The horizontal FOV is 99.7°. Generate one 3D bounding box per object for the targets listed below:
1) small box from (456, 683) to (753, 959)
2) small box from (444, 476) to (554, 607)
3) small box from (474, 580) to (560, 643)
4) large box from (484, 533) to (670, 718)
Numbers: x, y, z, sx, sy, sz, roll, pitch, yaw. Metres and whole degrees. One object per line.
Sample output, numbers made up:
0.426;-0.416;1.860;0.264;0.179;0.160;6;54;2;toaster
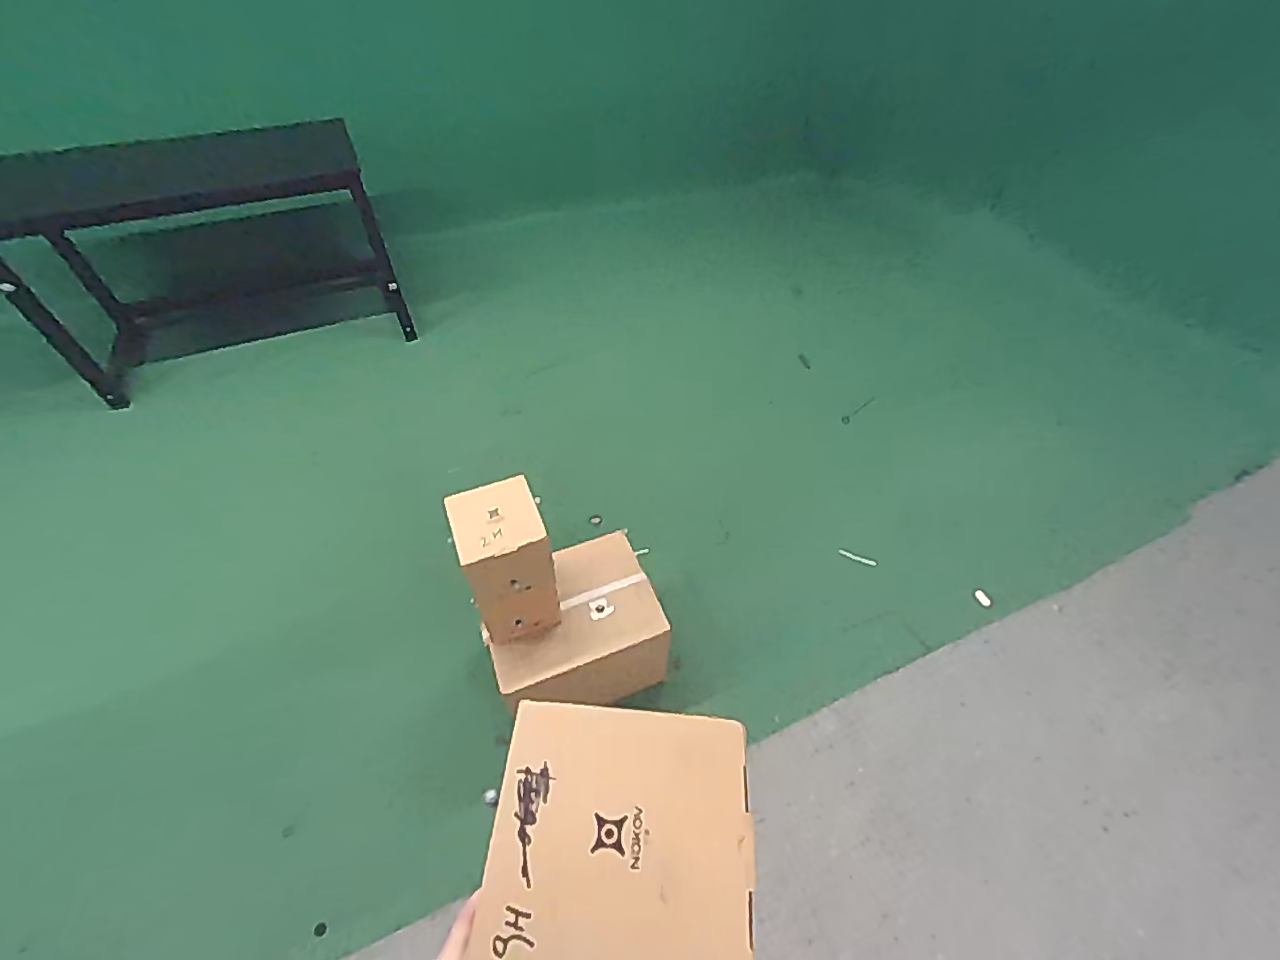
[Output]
-0.020;0.278;0.421;0.179;0.176;0.168;7;50;0;small box
-0.283;0.126;1.099;0.168;0.176;0.179;-18;51;-16;small box
-0.288;0.235;1.222;0.168;0.176;0.179;-17;51;-16;small box
-0.173;0.400;1.401;0.408;0.320;0.320;-17;51;-16;large box
